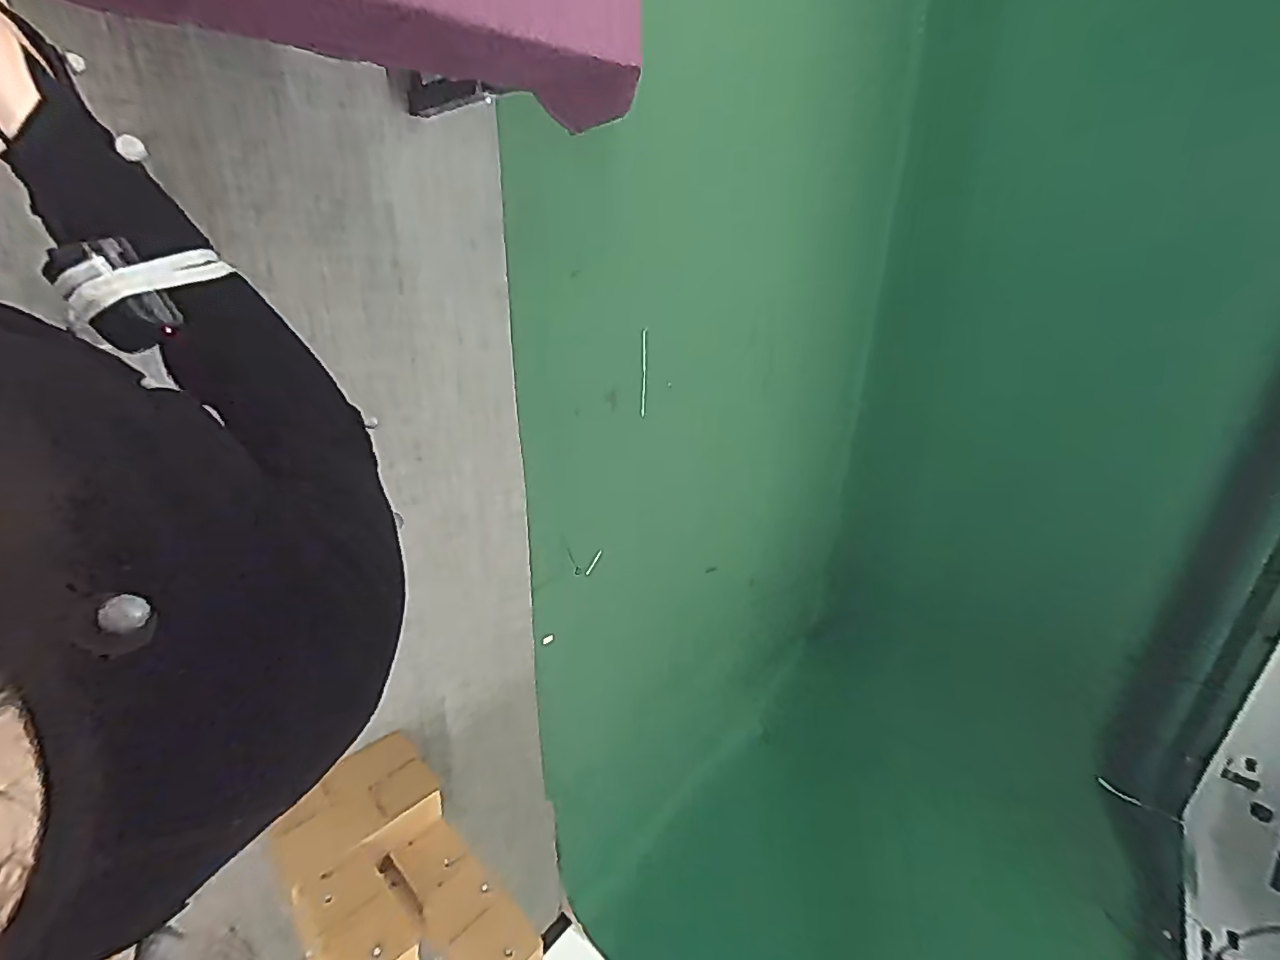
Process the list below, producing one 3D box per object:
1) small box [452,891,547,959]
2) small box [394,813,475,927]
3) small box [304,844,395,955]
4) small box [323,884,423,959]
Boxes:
[{"bbox_3d":[-0.363,1.228,1.396,0.179,0.176,0.168,-18,120,-46],"label":"small box"},{"bbox_3d":[-0.609,1.143,1.600,0.168,0.176,0.179,-15,120,-47],"label":"small box"},{"bbox_3d":[-0.752,1.093,1.403,0.168,0.176,0.179,-13,118,-45],"label":"small box"},{"bbox_3d":[-0.640,1.136,1.292,0.179,0.176,0.168,-13,117,-46],"label":"small box"}]
